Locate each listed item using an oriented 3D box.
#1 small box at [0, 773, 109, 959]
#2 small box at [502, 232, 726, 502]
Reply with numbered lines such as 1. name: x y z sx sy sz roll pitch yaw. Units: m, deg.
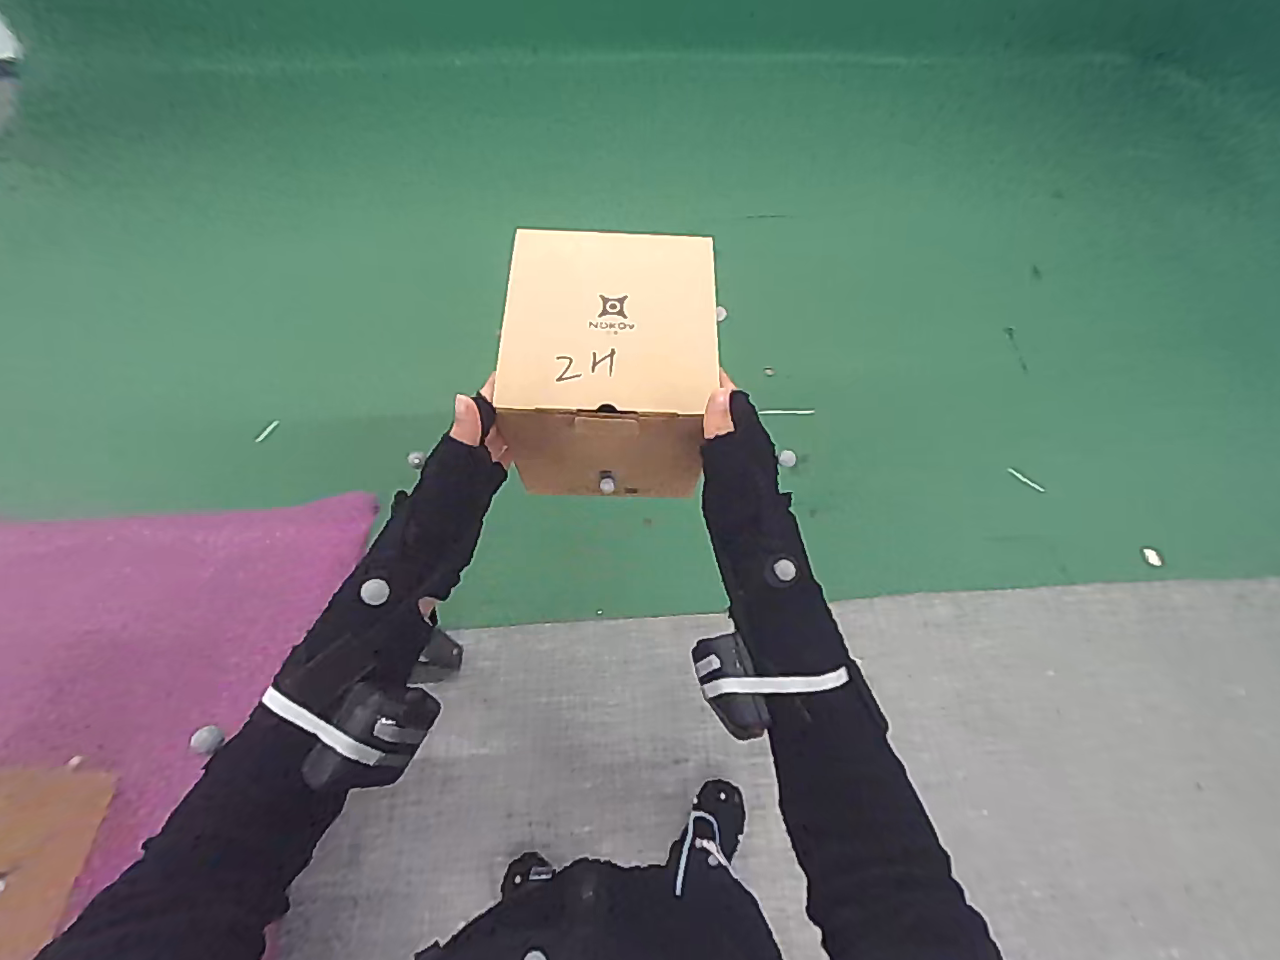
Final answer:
1. small box: -0.671 0.372 0.504 0.168 0.176 0.179 2 59 3
2. small box: -0.018 -0.093 0.496 0.168 0.176 0.179 2 67 0
